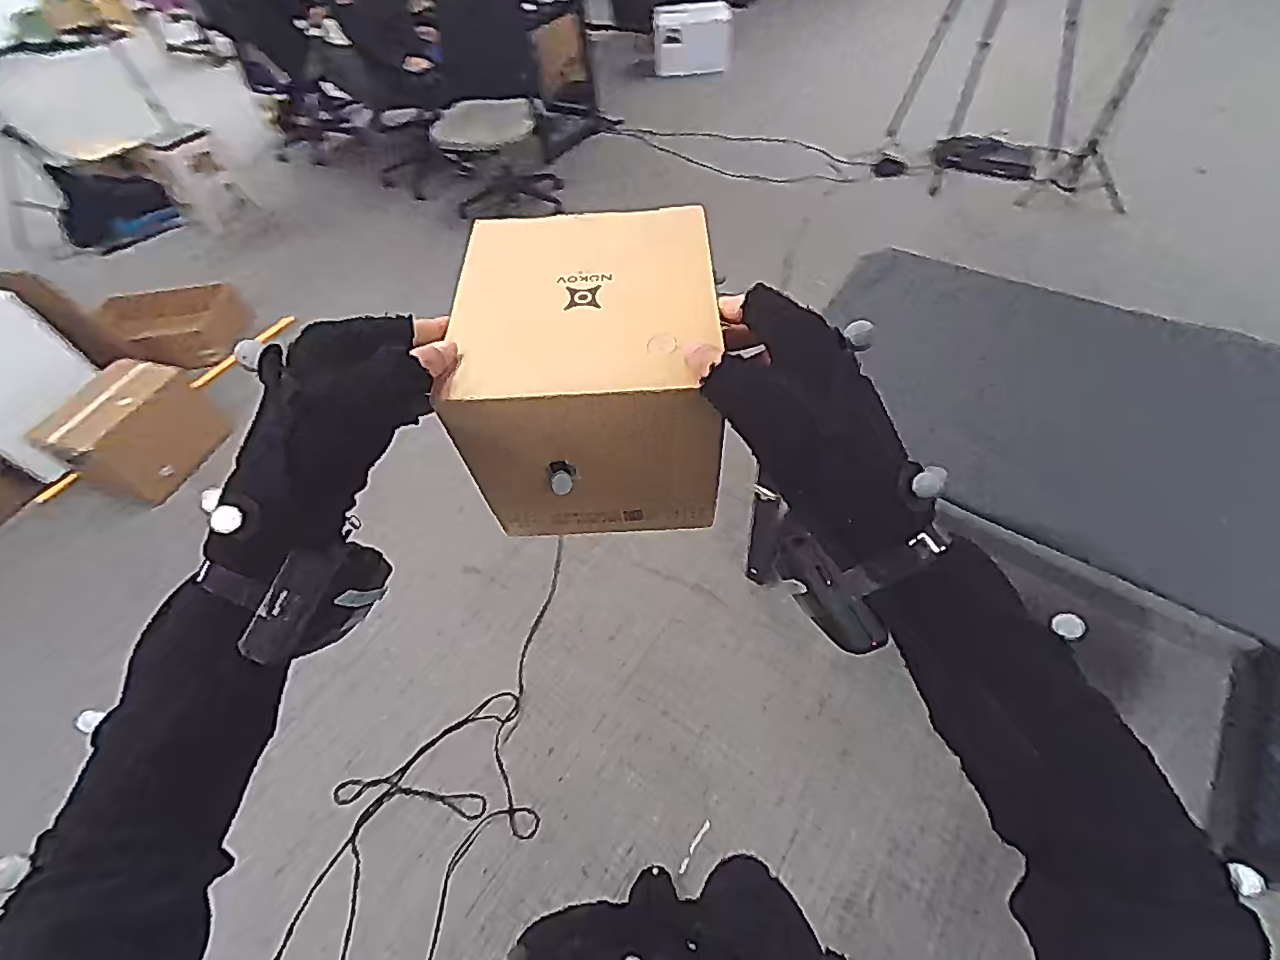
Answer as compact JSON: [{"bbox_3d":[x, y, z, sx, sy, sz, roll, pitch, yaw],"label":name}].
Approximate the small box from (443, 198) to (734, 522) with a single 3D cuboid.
[{"bbox_3d":[-0.023,-0.077,0.404,0.168,0.176,0.179,-2,57,3],"label":"small box"}]
